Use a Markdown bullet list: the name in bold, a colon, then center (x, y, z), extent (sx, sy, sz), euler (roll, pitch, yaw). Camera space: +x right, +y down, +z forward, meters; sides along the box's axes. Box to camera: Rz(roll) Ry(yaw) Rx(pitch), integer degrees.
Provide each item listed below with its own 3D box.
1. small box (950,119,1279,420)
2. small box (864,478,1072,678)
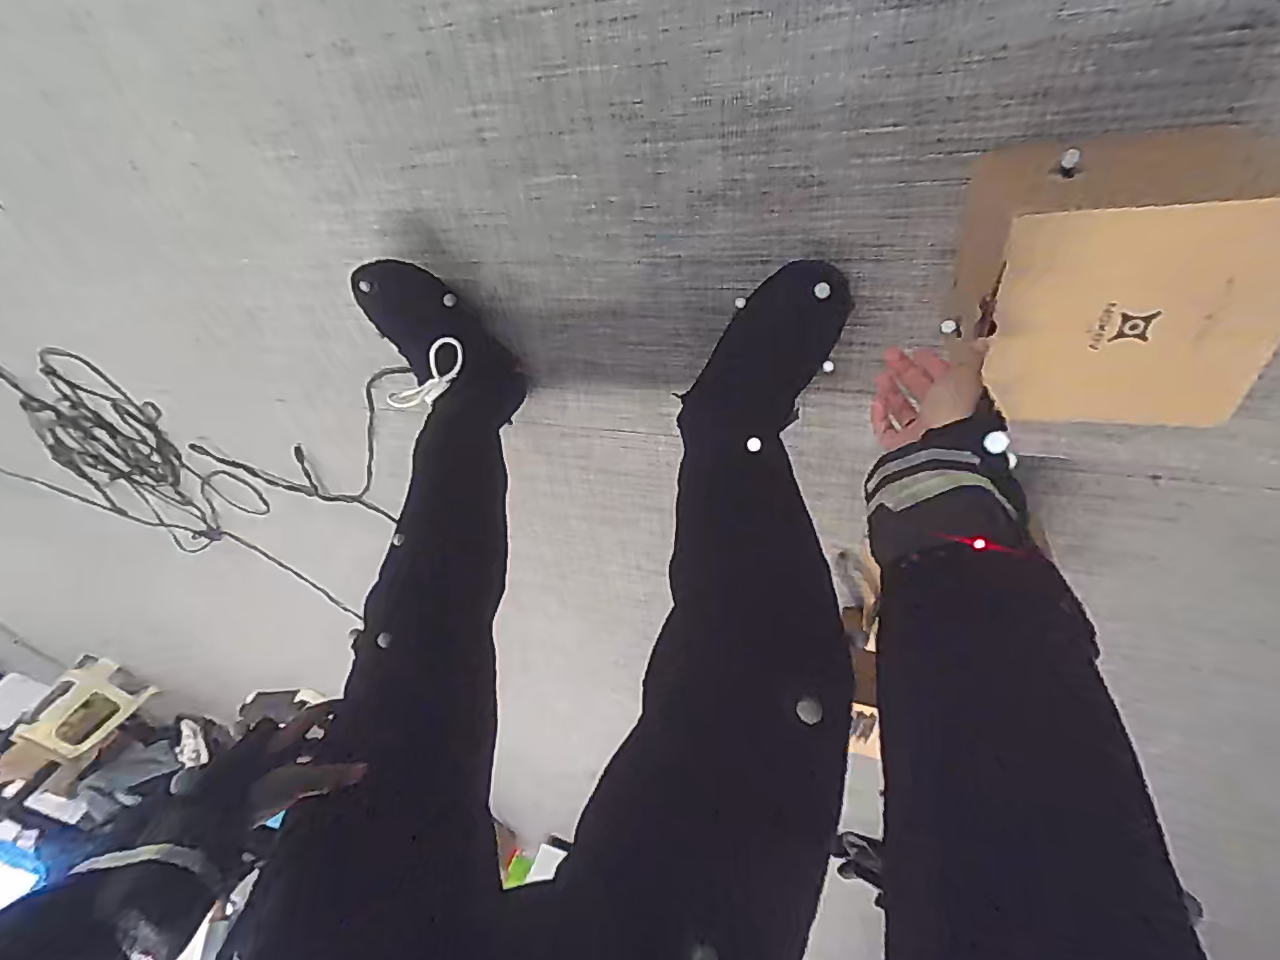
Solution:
- **small box**: center (0.361, -0.165, 0.425), extent (0.179, 0.176, 0.168), euler (4, 133, 18)
- **small box**: center (0.385, 0.115, 0.674), extent (0.179, 0.176, 0.168), euler (7, 133, 18)
